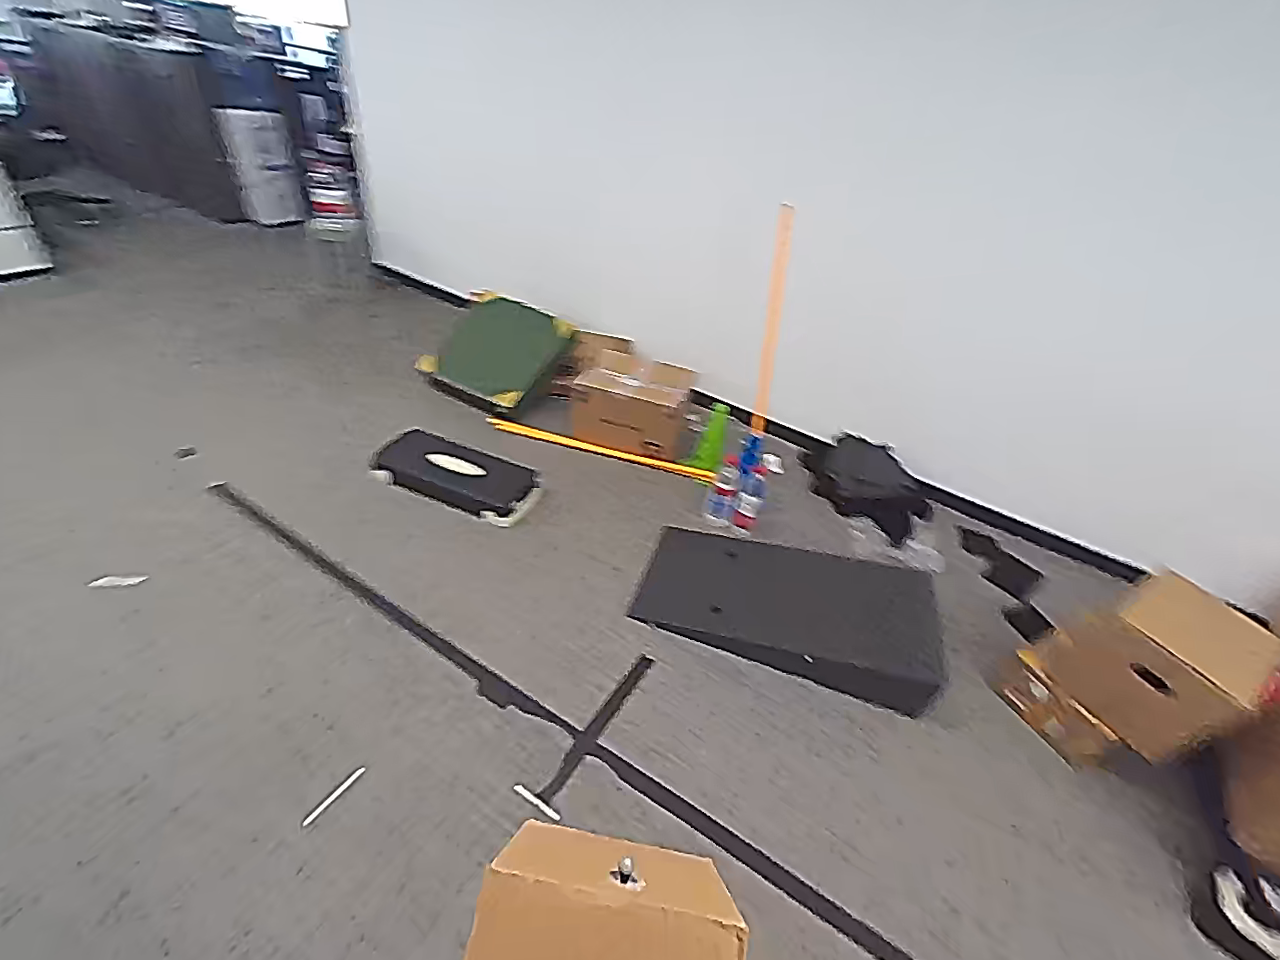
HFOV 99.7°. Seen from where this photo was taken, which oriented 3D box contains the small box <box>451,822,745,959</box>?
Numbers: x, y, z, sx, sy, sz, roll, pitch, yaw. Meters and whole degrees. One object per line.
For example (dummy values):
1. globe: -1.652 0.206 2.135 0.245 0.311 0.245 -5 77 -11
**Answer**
1. small box: -0.038 0.362 0.381 0.179 0.176 0.168 11 67 2
